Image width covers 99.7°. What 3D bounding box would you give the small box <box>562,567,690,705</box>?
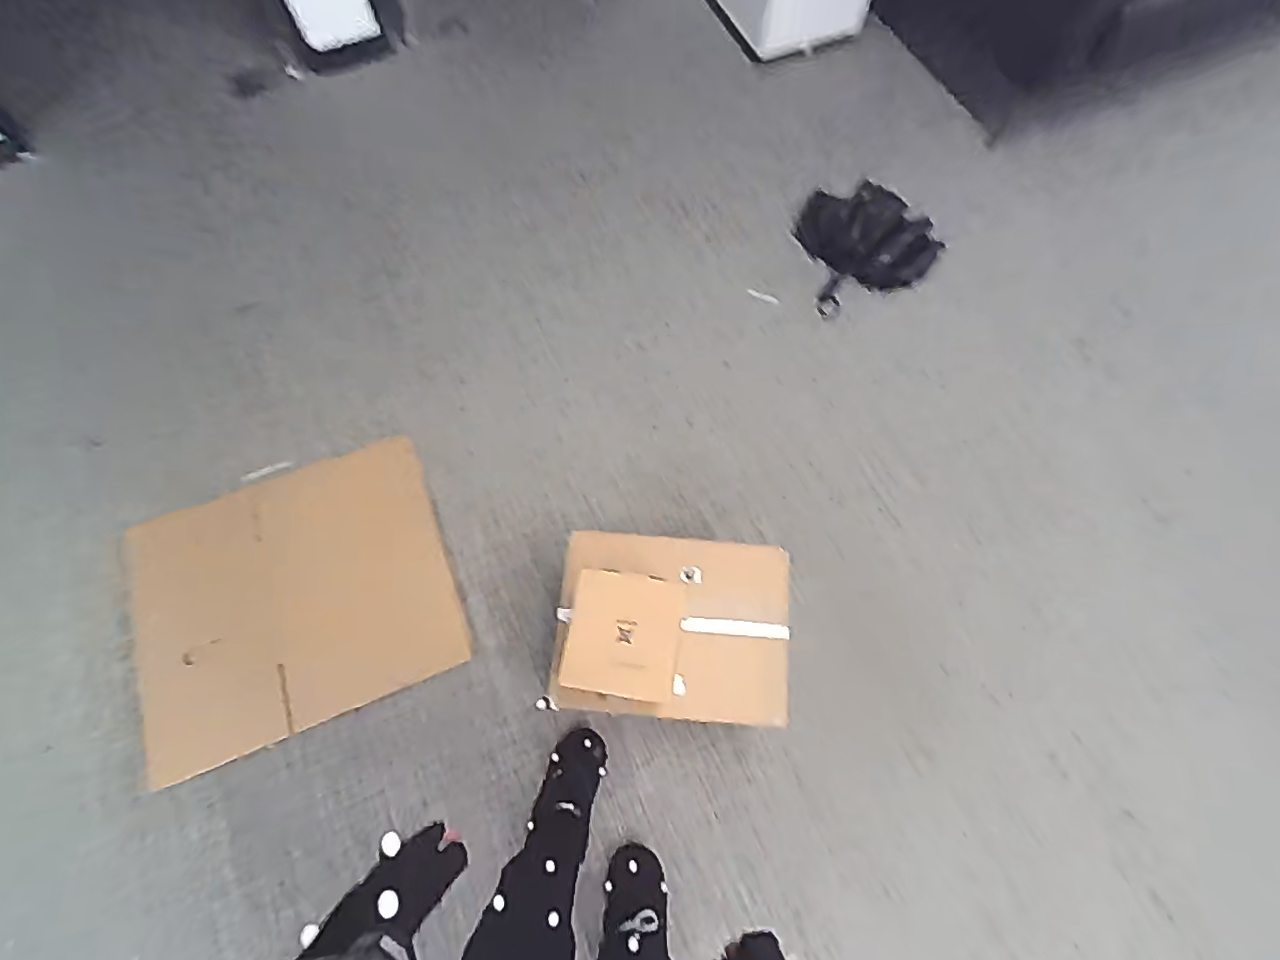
[{"bbox_3d":[-0.018,0.252,0.873,0.168,0.176,0.179,8,72,4],"label":"small box"}]
